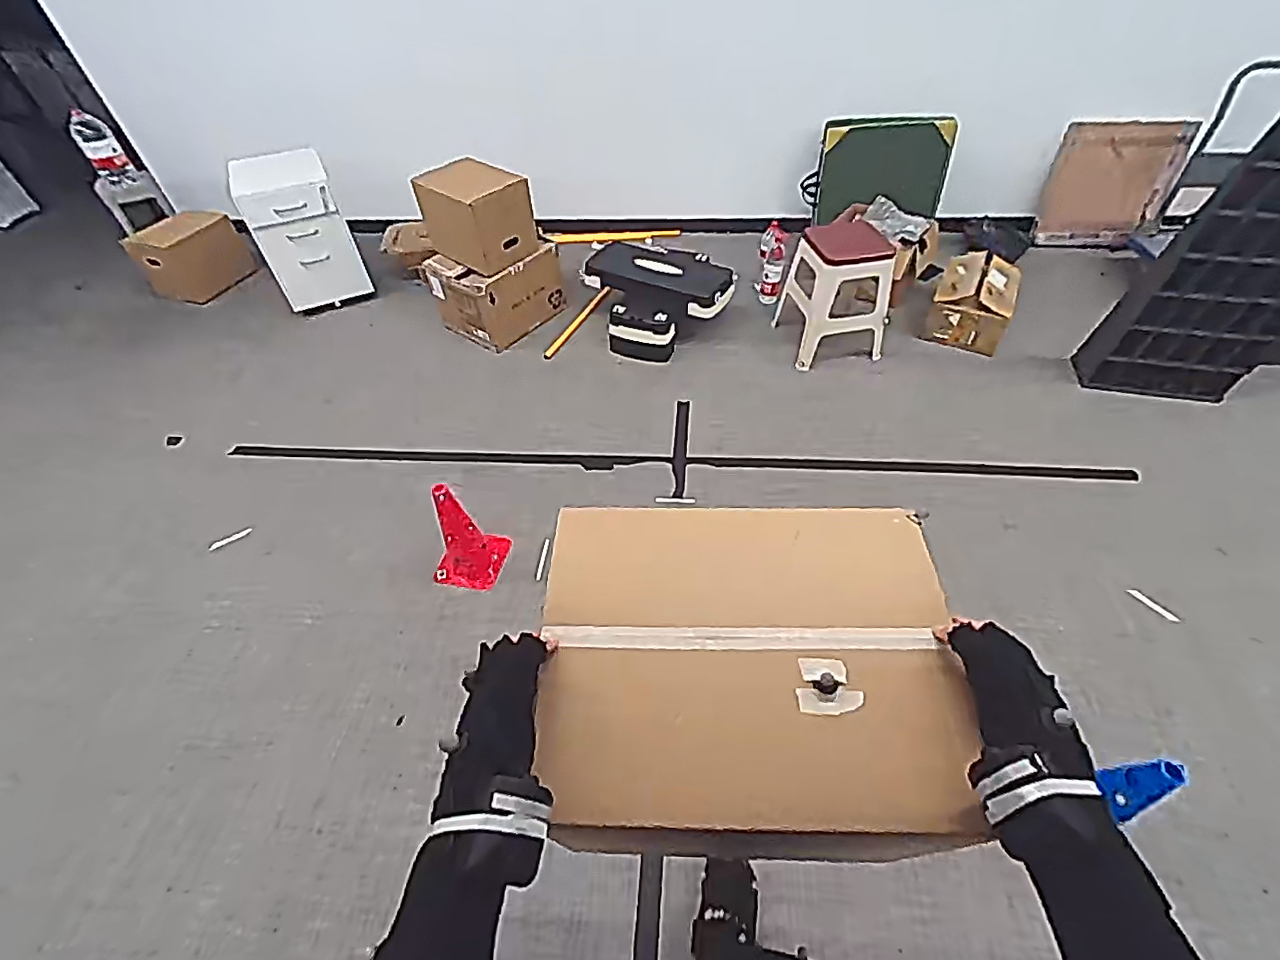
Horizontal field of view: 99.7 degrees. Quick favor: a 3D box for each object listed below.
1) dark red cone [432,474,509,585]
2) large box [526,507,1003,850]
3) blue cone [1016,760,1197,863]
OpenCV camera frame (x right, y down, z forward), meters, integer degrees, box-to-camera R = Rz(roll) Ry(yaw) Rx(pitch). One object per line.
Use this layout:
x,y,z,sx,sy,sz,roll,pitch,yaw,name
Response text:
-0.540,0.130,1.599,0.201,0.394,0.202,7,49,8,dark red cone
0.105,0.246,0.652,0.408,0.320,0.320,0,52,2,large box
0.973,0.644,1.110,0.192,0.380,0.193,5,49,6,blue cone
